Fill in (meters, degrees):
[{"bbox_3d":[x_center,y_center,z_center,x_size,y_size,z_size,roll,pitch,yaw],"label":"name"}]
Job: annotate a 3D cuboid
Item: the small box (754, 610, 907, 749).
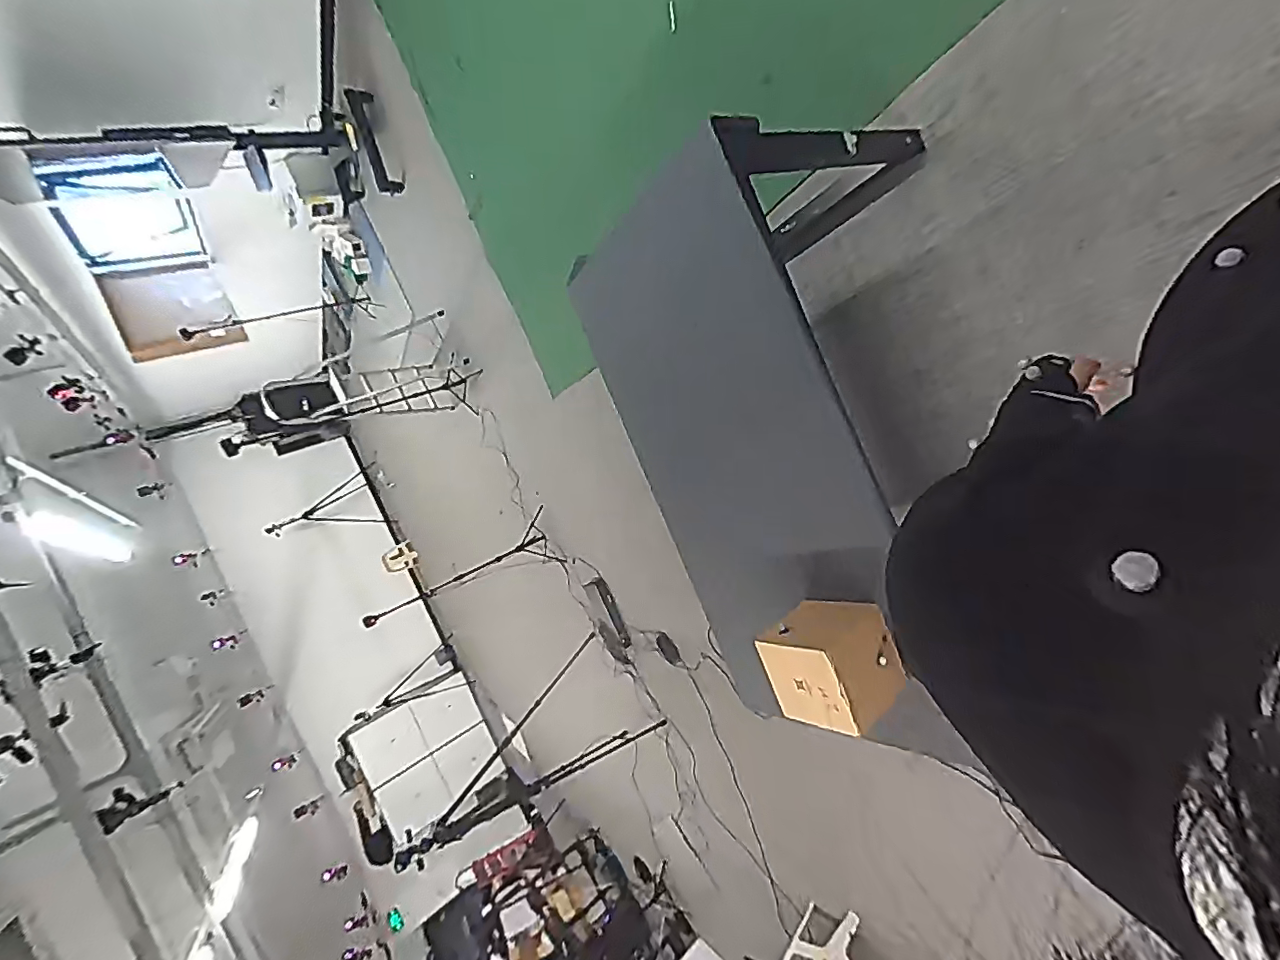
[{"bbox_3d":[0.350,0.353,0.995,0.179,0.176,0.168,-17,97,56],"label":"small box"}]
